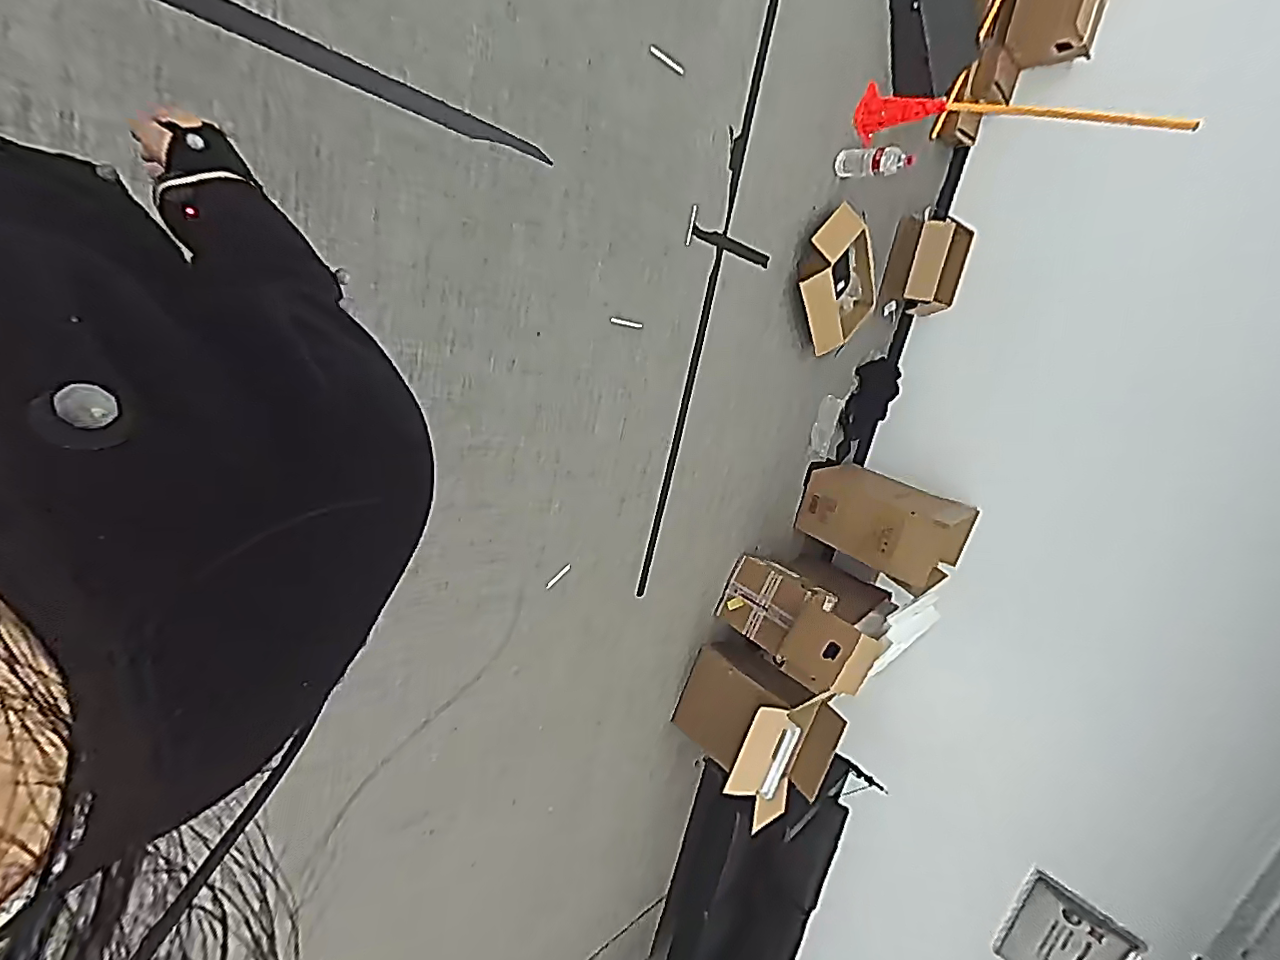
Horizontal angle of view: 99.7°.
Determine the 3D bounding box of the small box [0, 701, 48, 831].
[{"bbox_3d":[-1.289,0.572,1.050,0.168,0.176,0.179,-13,119,-43],"label":"small box"}]
